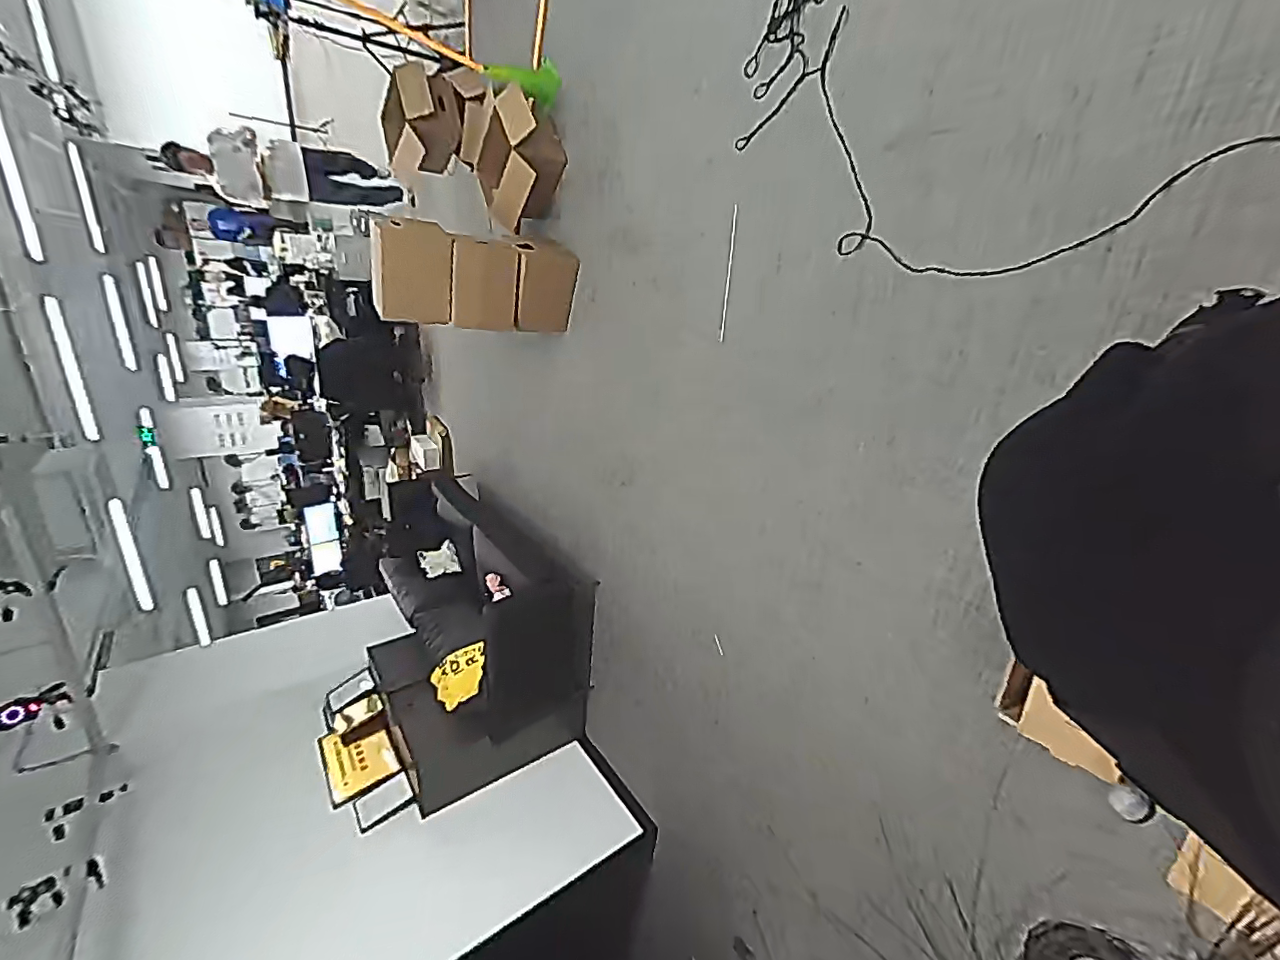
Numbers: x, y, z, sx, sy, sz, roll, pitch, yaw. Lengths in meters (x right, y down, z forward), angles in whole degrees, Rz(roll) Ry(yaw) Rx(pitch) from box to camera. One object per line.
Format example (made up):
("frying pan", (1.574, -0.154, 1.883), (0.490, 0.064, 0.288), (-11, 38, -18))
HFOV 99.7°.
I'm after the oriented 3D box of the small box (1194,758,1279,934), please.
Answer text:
("small box", (0.950, 0.536, 0.763), (0.179, 0.176, 0.168), (27, 118, 52))
